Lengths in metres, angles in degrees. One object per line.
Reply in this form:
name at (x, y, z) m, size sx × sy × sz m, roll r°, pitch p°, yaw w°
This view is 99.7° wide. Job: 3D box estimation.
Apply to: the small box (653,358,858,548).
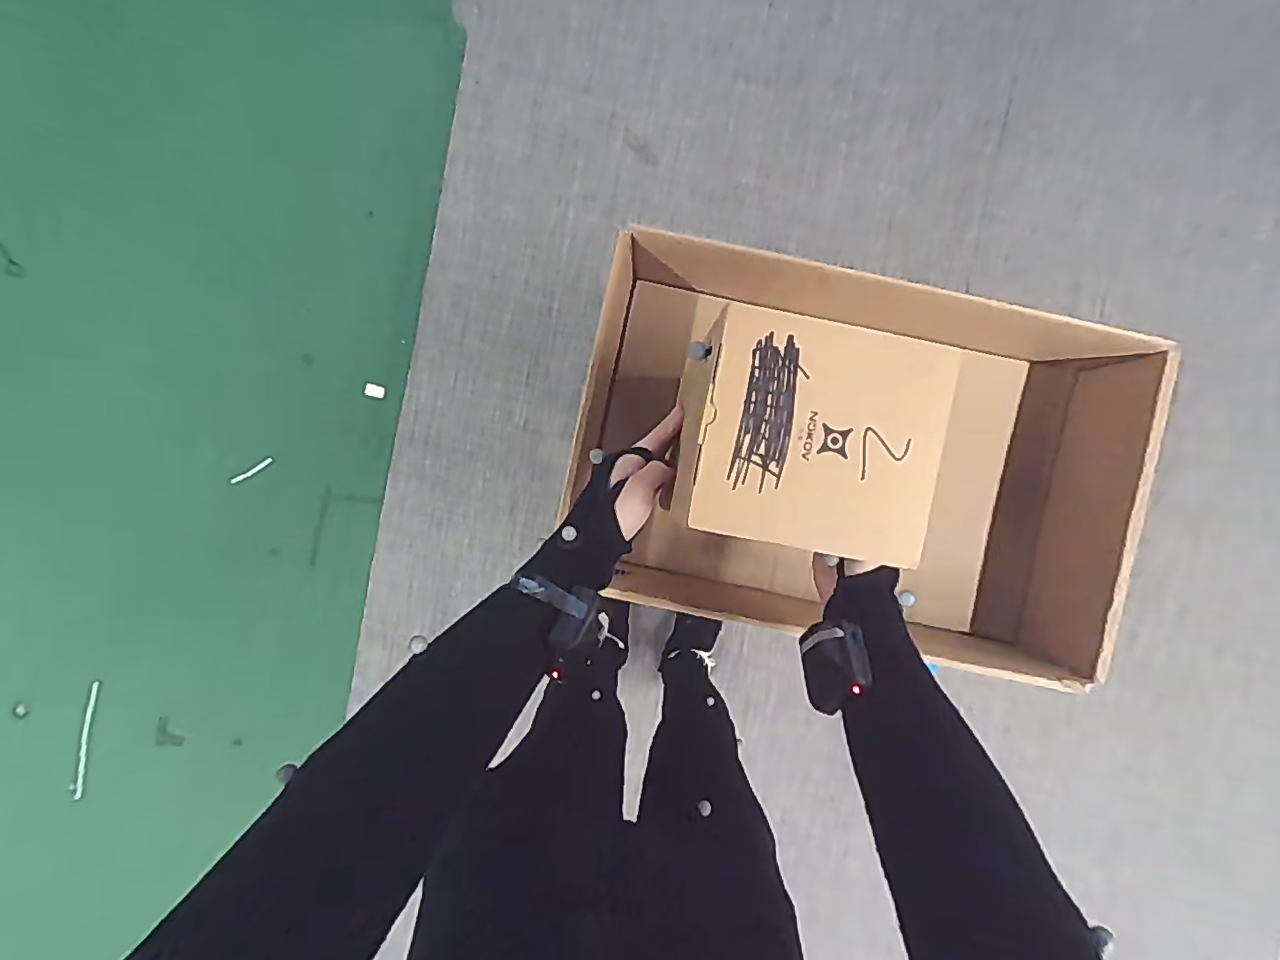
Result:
small box at (0.119, -0.029, 0.632) m, size 0.179 × 0.176 × 0.168 m, roll 12°, pitch 90°, yaw -2°
